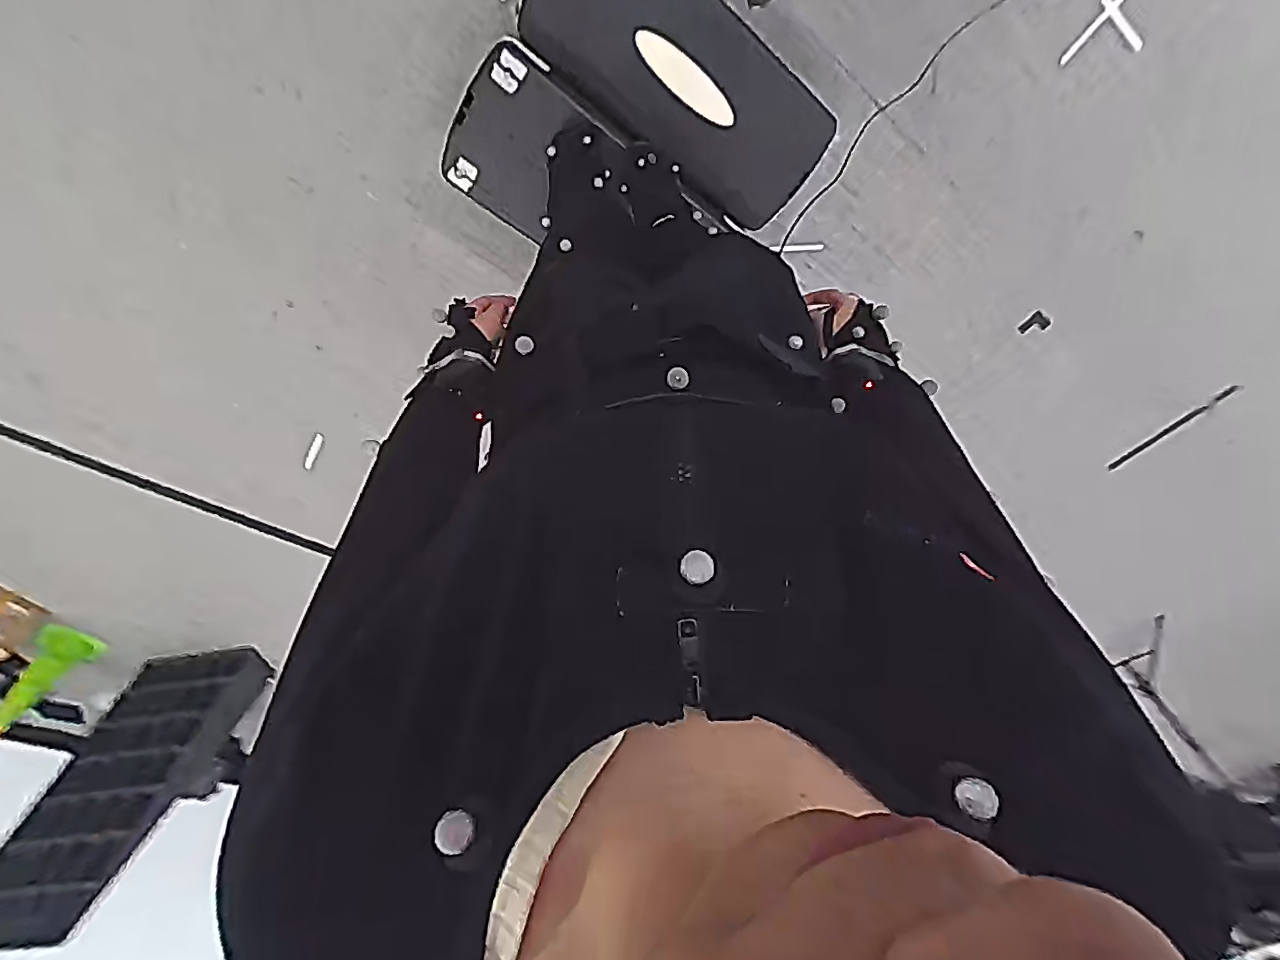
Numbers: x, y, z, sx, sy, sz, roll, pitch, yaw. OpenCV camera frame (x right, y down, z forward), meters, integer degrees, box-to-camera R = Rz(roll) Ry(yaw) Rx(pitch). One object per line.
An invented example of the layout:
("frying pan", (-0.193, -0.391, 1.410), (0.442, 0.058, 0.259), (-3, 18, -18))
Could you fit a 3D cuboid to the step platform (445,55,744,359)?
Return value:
("step platform", (-0.082, -0.584, 1.236), (0.684, 0.204, 0.286), (33, 117, -23))
